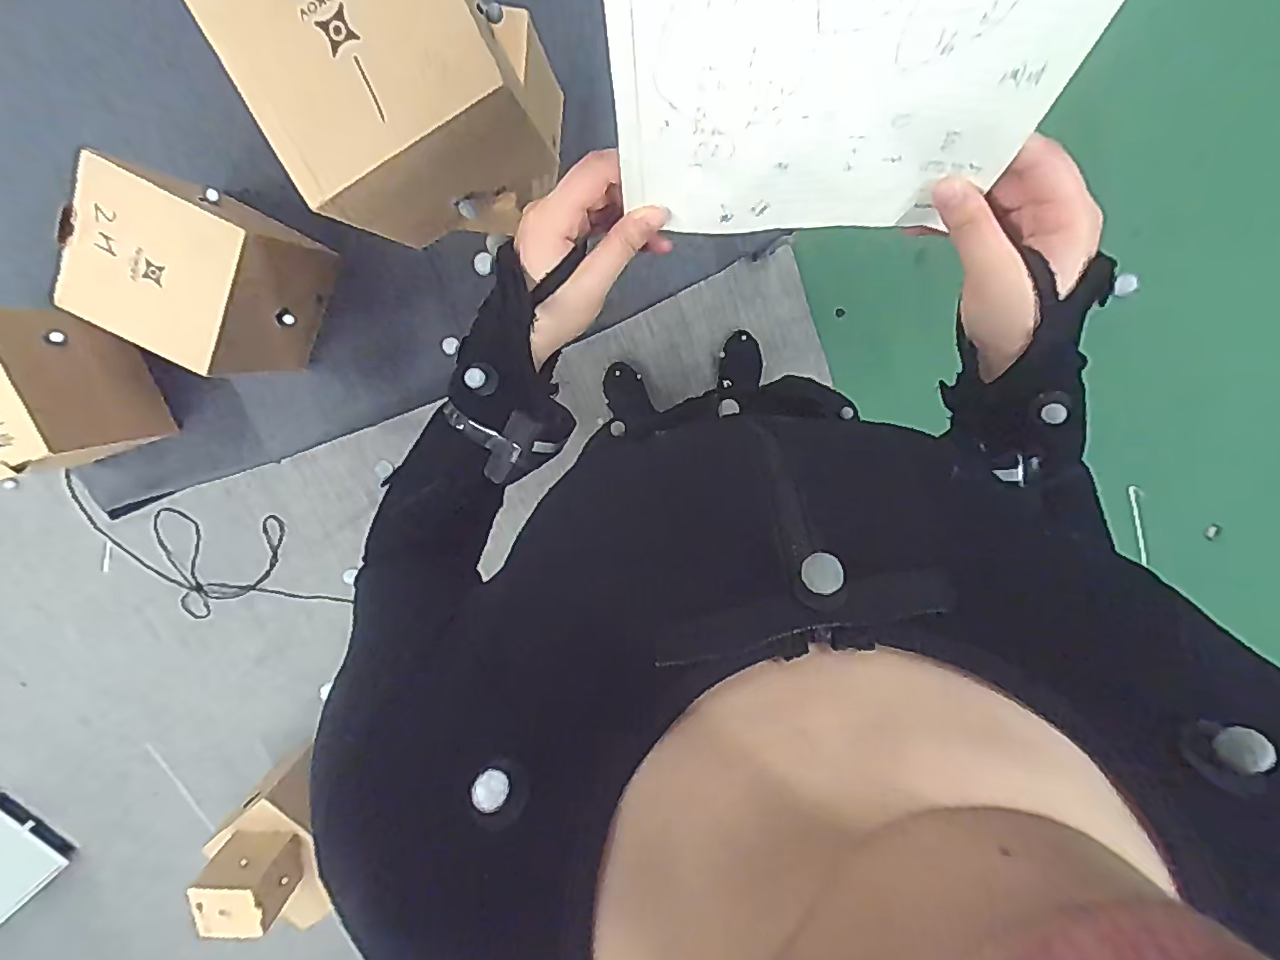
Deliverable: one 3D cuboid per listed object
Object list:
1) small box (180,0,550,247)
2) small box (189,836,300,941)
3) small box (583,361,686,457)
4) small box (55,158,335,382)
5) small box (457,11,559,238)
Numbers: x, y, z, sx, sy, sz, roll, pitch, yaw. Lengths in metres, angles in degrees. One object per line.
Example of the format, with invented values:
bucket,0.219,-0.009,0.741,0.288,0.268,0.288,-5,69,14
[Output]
small box,-0.194,-0.312,0.426,0.168,0.176,0.179,-25,102,11
small box,-1.059,1.102,1.468,0.179,0.176,0.168,0,105,2
small box,-0.009,-0.175,1.357,0.176,0.168,0.179,27,80,-32
small box,-0.503,-0.233,0.635,0.179,0.176,0.168,27,104,-3
small box,-0.190,-0.367,0.581,0.179,0.176,0.168,8,105,3
